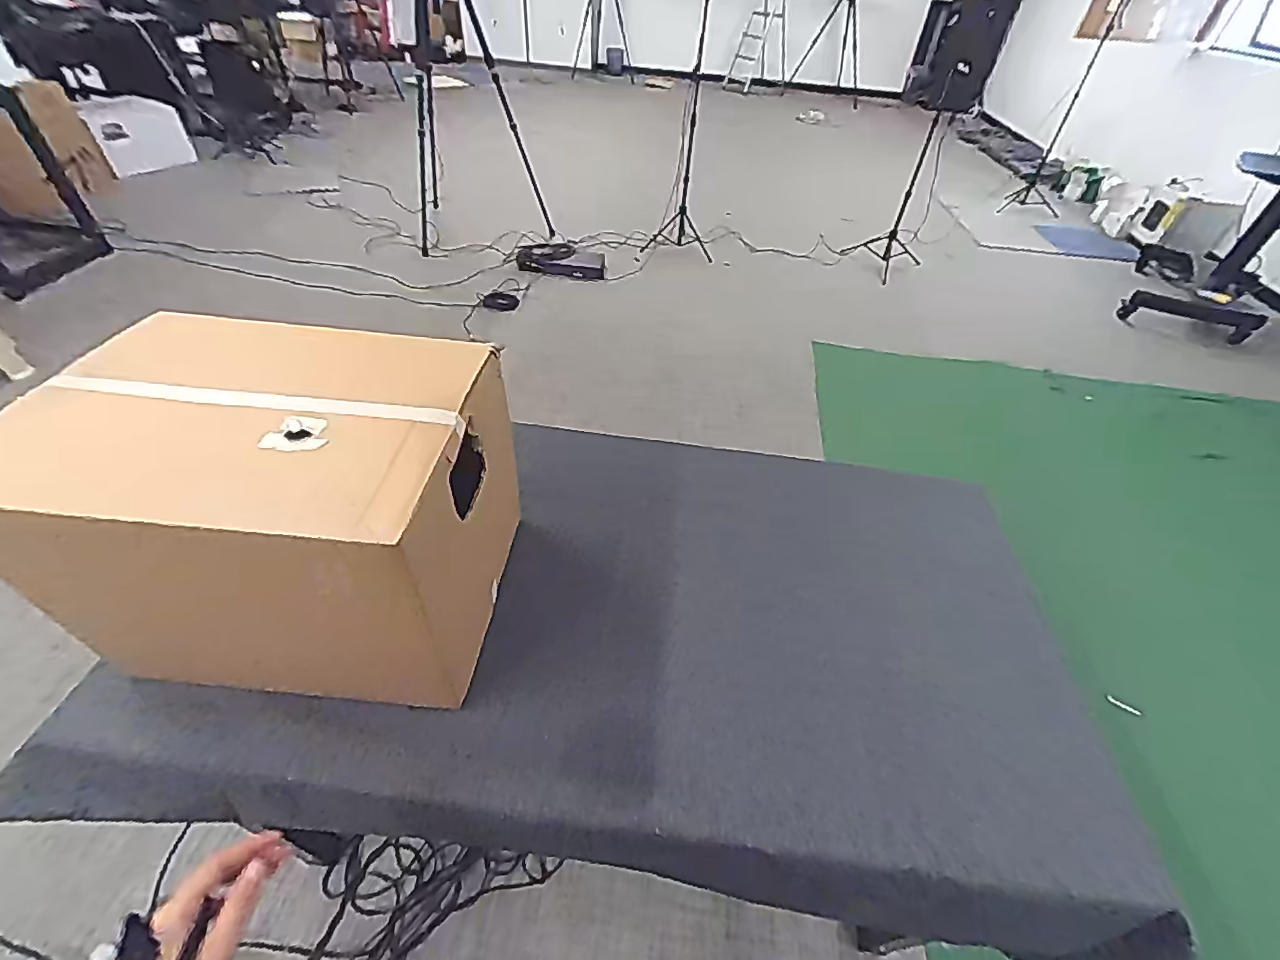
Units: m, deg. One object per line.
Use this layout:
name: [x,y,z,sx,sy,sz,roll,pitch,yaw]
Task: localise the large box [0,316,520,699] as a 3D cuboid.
large box: [-0.380,0.034,0.642,0.408,0.320,0.320,6,44,-1]
